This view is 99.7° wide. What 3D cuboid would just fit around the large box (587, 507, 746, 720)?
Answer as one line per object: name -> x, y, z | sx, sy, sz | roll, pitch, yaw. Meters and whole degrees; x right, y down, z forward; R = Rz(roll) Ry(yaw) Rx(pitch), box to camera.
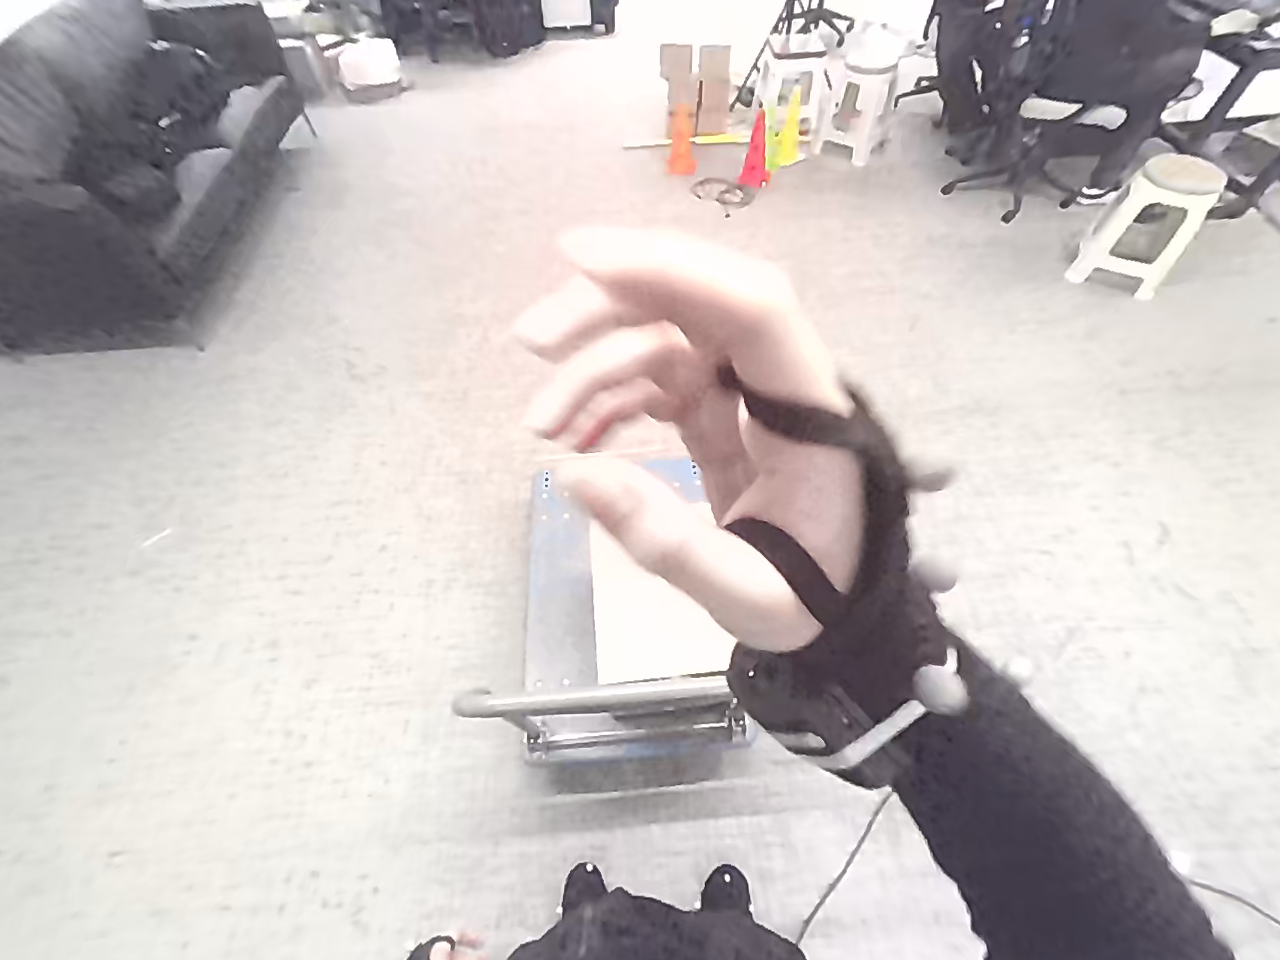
large box -> 0.051, 0.330, 1.327 | 0.320, 0.320, 0.408 | -6, 55, -2
